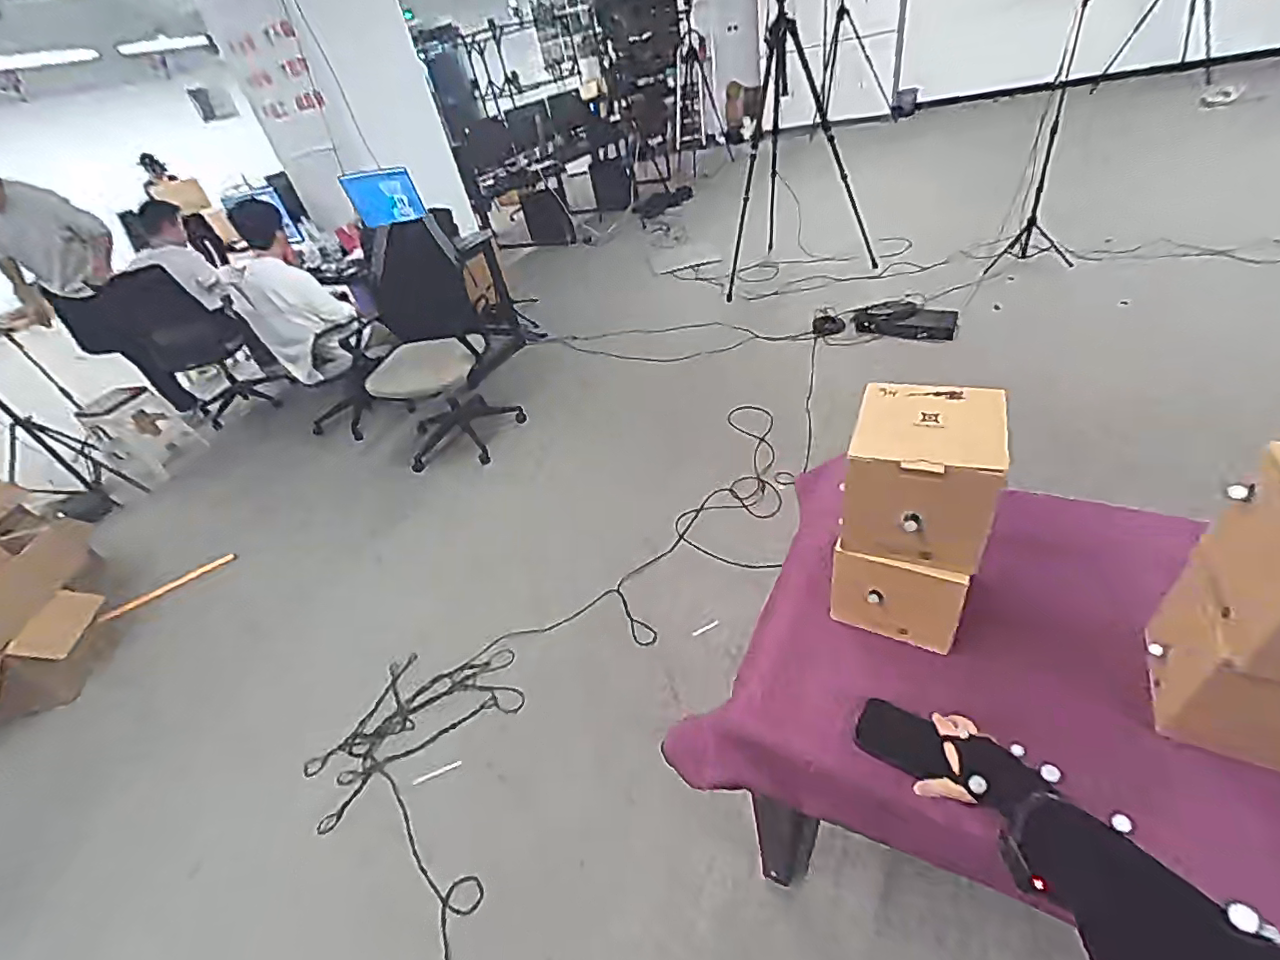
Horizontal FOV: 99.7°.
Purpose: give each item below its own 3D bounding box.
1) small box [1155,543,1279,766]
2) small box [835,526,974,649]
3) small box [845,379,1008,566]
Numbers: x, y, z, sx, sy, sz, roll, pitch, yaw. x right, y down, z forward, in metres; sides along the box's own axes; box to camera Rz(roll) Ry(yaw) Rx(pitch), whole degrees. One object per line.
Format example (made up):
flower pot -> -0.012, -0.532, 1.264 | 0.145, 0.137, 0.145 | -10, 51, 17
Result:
small box -> 0.717, 0.201, 0.594 | 0.179, 0.176, 0.168 | 12, 45, 30
small box -> 0.398, 0.118, 0.804 | 0.168, 0.176, 0.179 | 13, 45, 31
small box -> 0.369, -0.012, 0.709 | 0.168, 0.176, 0.179 | 9, 44, 26
